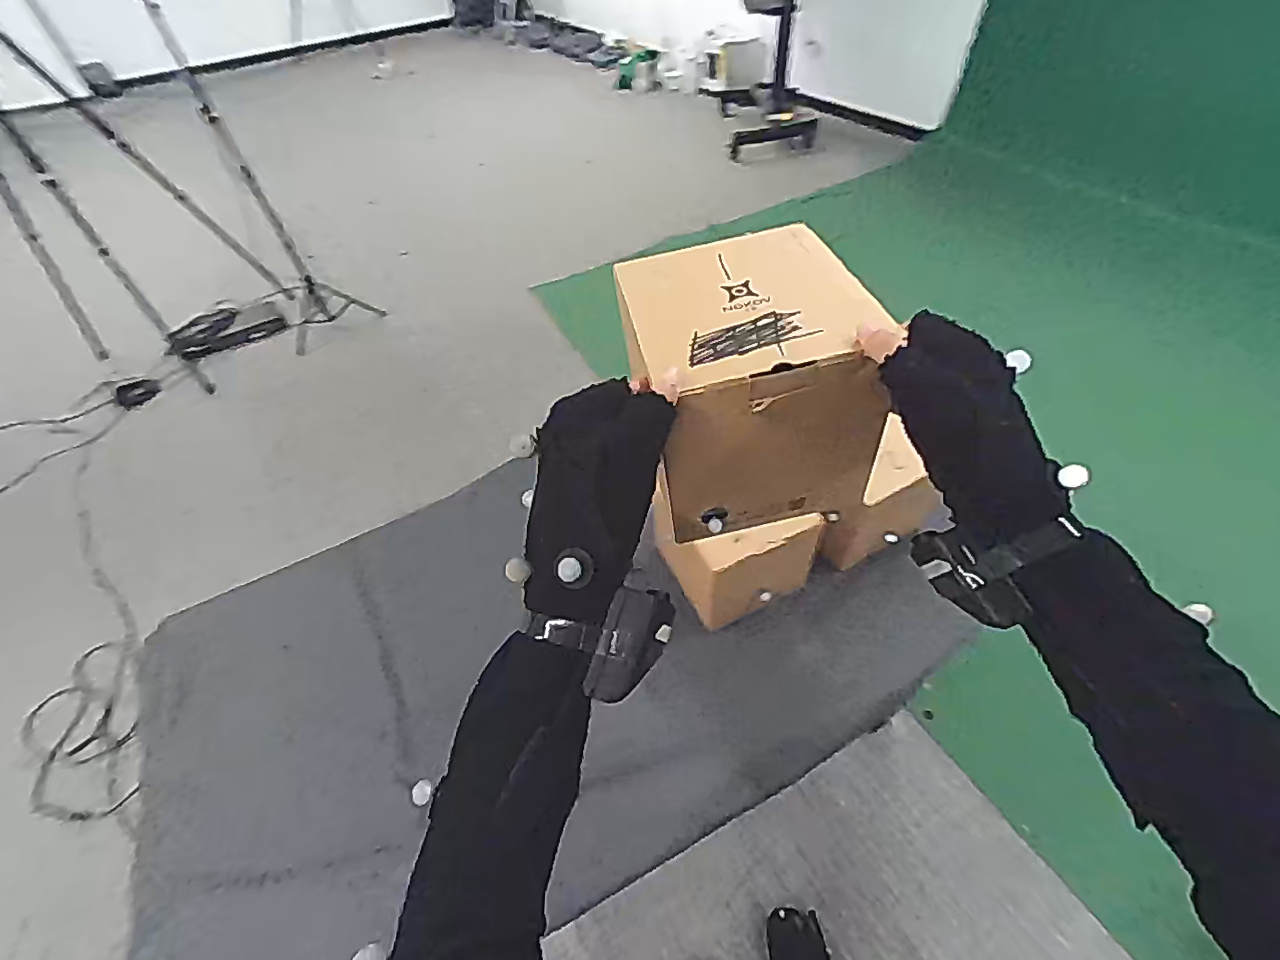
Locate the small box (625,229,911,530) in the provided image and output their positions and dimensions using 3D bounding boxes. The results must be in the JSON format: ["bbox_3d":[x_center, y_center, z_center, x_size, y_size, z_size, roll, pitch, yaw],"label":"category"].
[{"bbox_3d":[0.091,-0.076,0.452,0.168,0.176,0.179,-12,49,-1],"label":"small box"}]

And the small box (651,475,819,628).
[{"bbox_3d":[0.127,0.081,0.787,0.168,0.176,0.179,-22,51,-13],"label":"small box"}]
